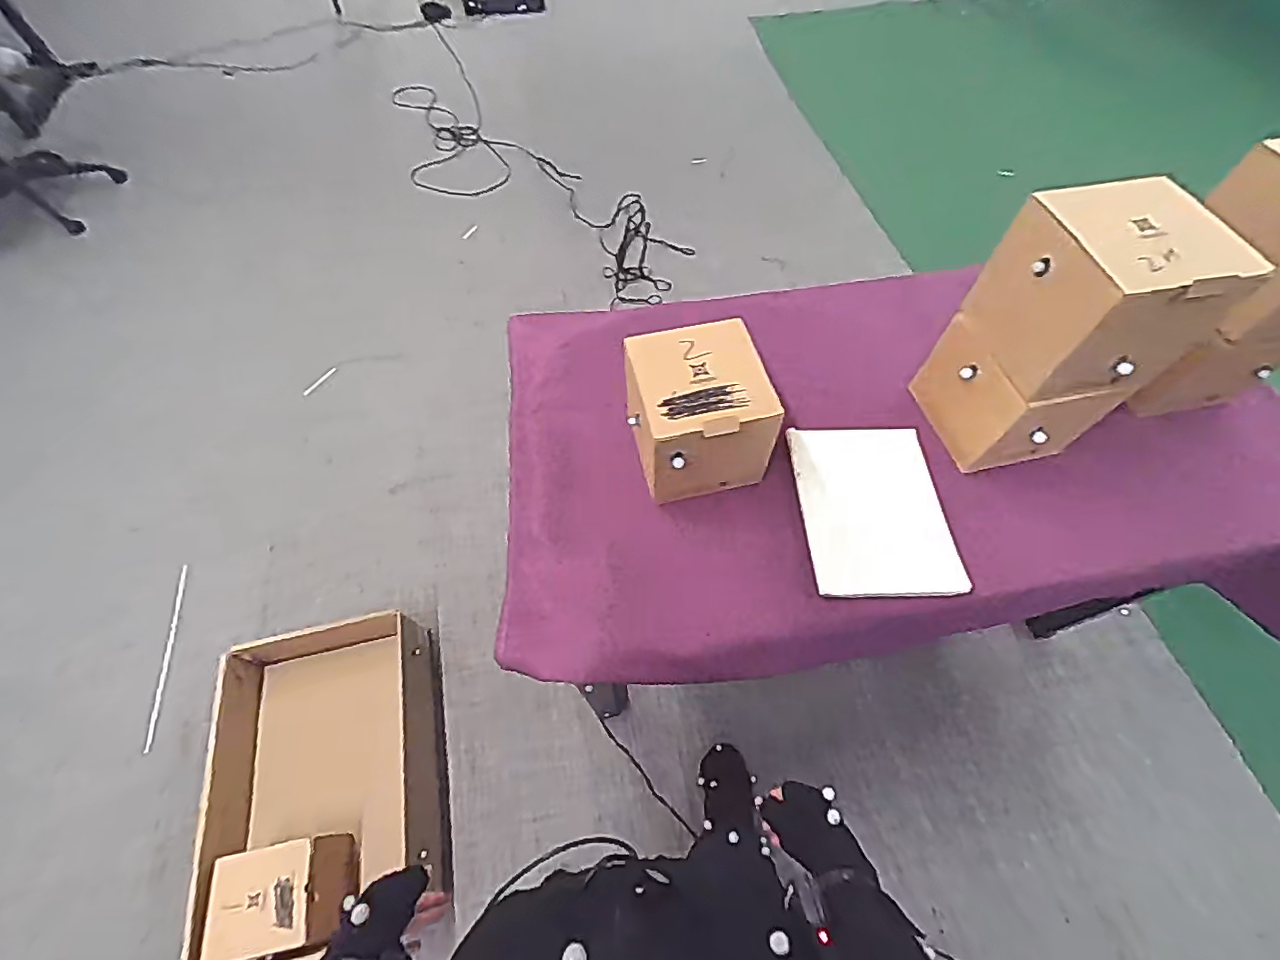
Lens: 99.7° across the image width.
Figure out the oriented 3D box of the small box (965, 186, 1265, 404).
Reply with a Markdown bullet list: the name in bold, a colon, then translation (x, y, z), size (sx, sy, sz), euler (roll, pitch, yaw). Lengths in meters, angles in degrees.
- **small box**: translation (0.536, -0.217, 0.648), size (0.168, 0.176, 0.179), euler (-9, 60, -4)

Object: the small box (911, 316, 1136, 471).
- **small box**: translation (0.536, -0.128, 0.787), size (0.168, 0.176, 0.179), euler (-11, 60, -6)

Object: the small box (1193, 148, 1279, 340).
- **small box**: translation (0.834, -0.296, 0.690), size (0.168, 0.176, 0.179), euler (-8, 61, -5)

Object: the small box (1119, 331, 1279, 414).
- **small box**: translation (0.841, -0.216, 0.833), size (0.168, 0.176, 0.179), euler (-8, 60, -5)
